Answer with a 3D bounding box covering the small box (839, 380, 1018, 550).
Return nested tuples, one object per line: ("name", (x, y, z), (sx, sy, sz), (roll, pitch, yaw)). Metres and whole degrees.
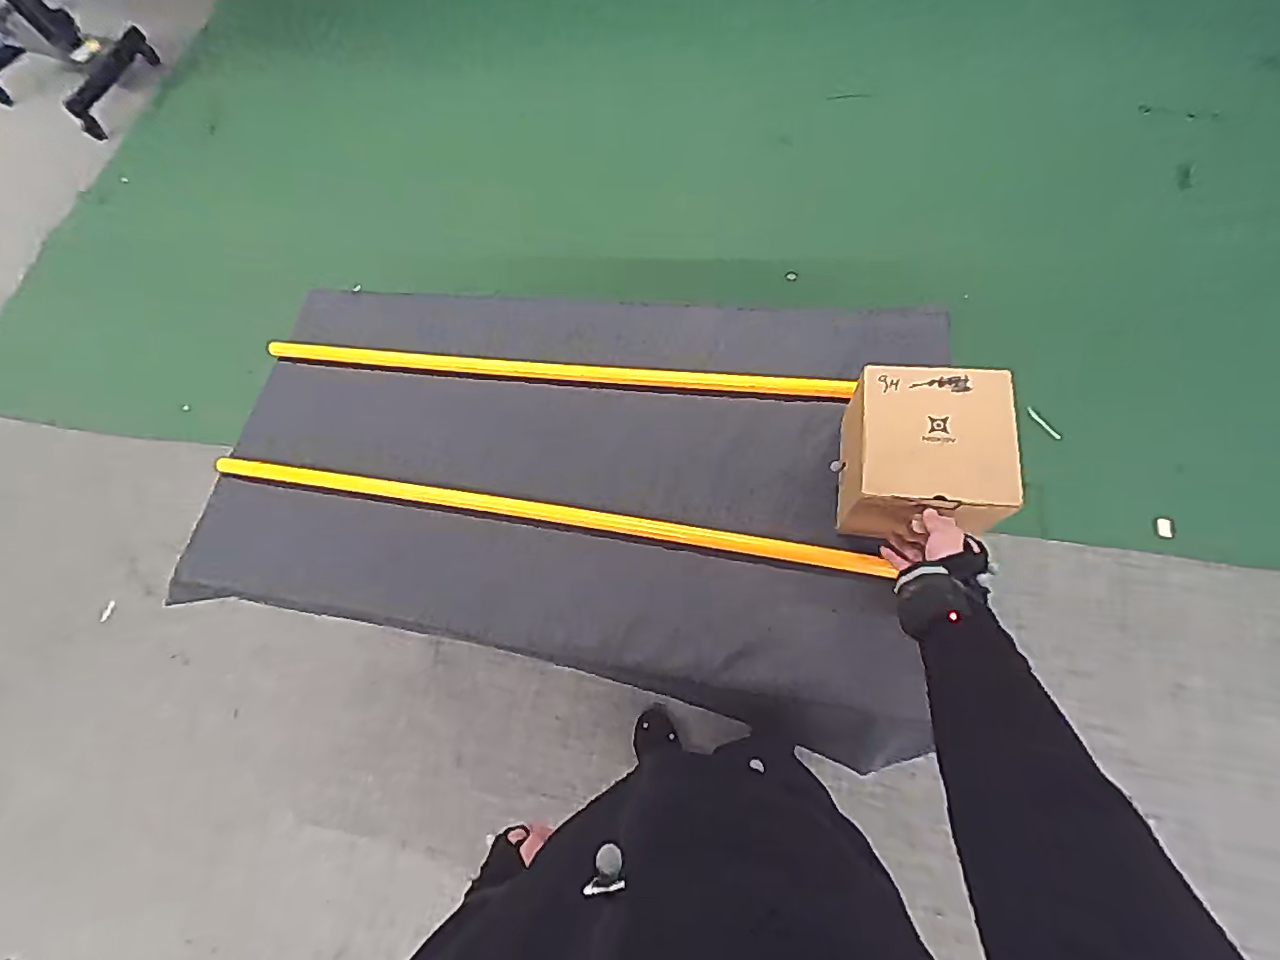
("small box", (0.360, -0.012, 0.709), (0.168, 0.176, 0.179), (2, 69, 13))
